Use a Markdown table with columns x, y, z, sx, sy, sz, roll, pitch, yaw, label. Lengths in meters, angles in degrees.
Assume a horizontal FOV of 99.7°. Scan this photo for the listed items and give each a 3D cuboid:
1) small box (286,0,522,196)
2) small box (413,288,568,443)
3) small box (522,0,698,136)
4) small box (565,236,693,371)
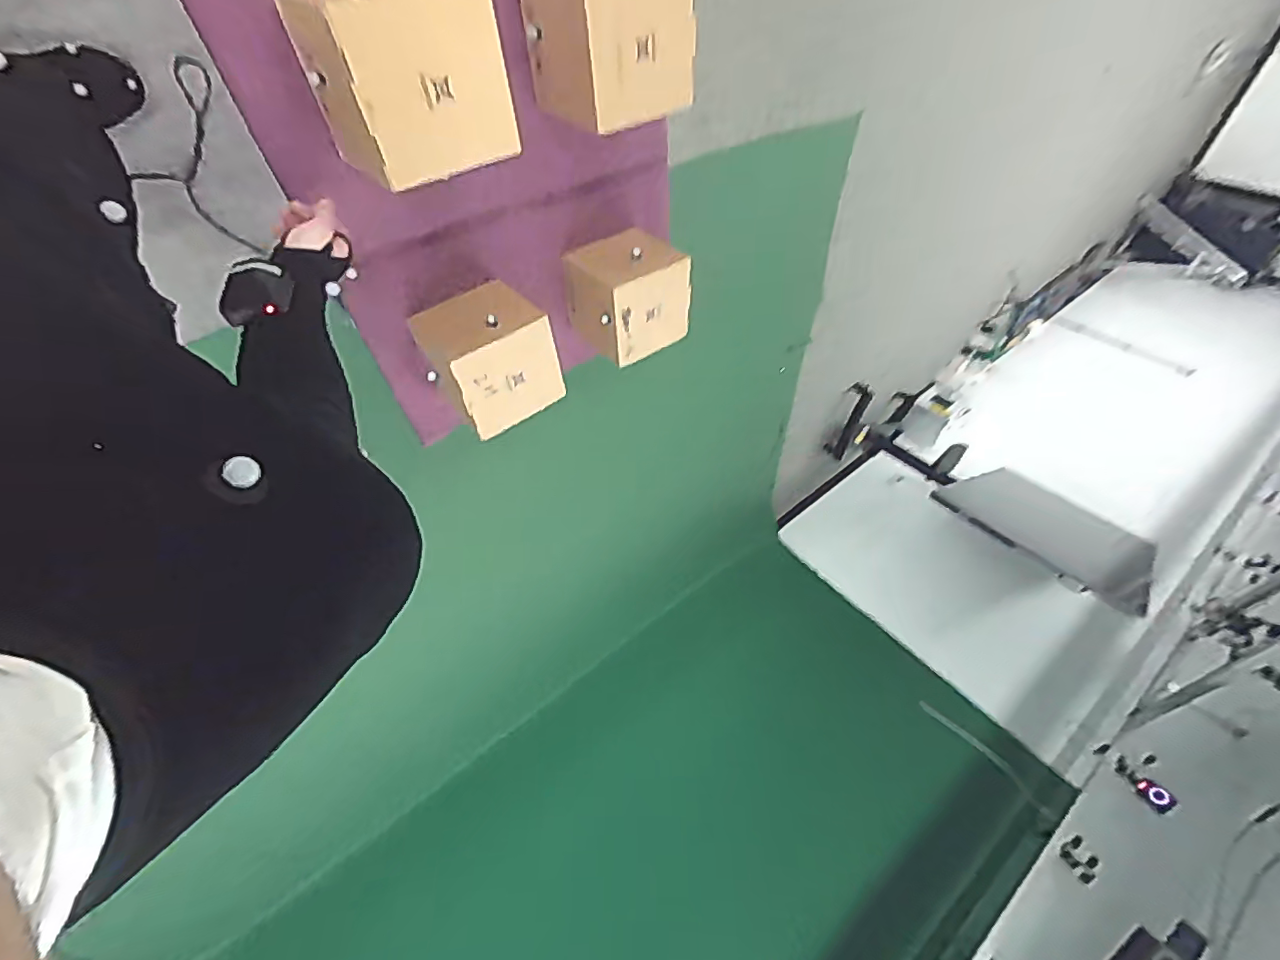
| x | y | z | sx | sy | sz | roll | pitch | yaw | label |
| --- | --- | --- | --- | --- | --- | --- | --- | --- | --- |
| -0.270 | -0.467 | 0.636 | 0.179 | 0.176 | 0.168 | -33 | 144 | -22 | small box |
| -0.251 | -0.202 | 0.924 | 0.179 | 0.176 | 0.168 | -33 | 142 | -21 | small box |
| -0.040 | -0.607 | 0.751 | 0.179 | 0.176 | 0.168 | -31 | 143 | -22 | small box |
| -0.020 | -0.346 | 1.041 | 0.179 | 0.176 | 0.168 | -31 | 143 | -23 | small box |
